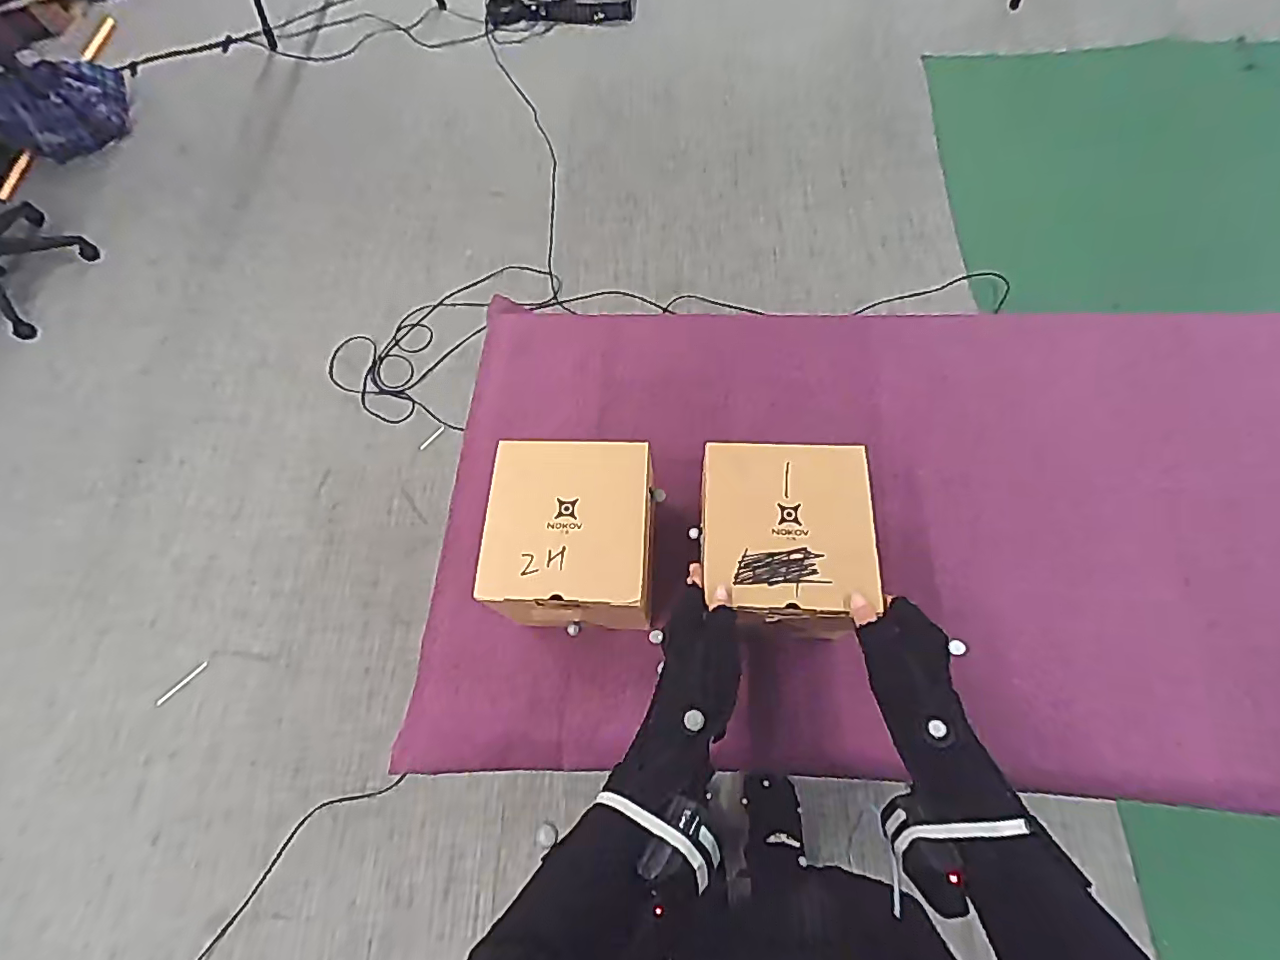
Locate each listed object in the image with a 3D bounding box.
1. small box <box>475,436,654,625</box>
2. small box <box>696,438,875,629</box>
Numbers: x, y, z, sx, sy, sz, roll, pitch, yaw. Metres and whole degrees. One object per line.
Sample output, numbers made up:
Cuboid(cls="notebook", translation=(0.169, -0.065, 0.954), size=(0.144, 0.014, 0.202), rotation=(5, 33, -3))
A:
Cuboid(cls="small box", translation=(-0.072, 0.065, 0.630), size=(0.168, 0.176, 0.179), rotation=(1, 67, 5))
Cuboid(cls="small box", translation=(0.150, 0.068, 0.612), size=(0.168, 0.176, 0.179), rotation=(1, 67, 5))
